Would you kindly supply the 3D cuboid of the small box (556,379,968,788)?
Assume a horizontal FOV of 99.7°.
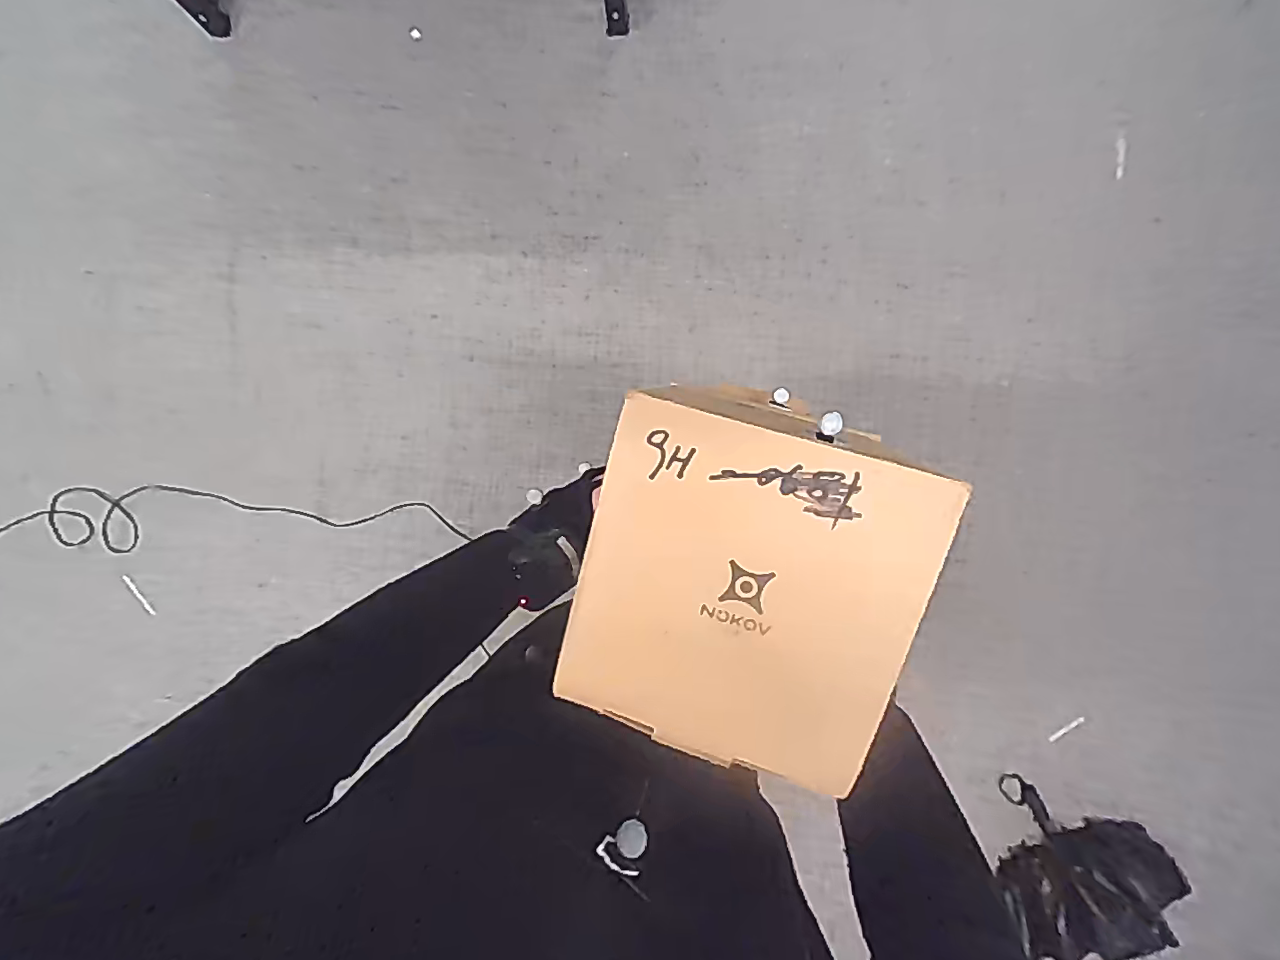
[{"bbox_3d":[0.065,0.041,0.345,0.168,0.176,0.179,16,105,8],"label":"small box"}]
